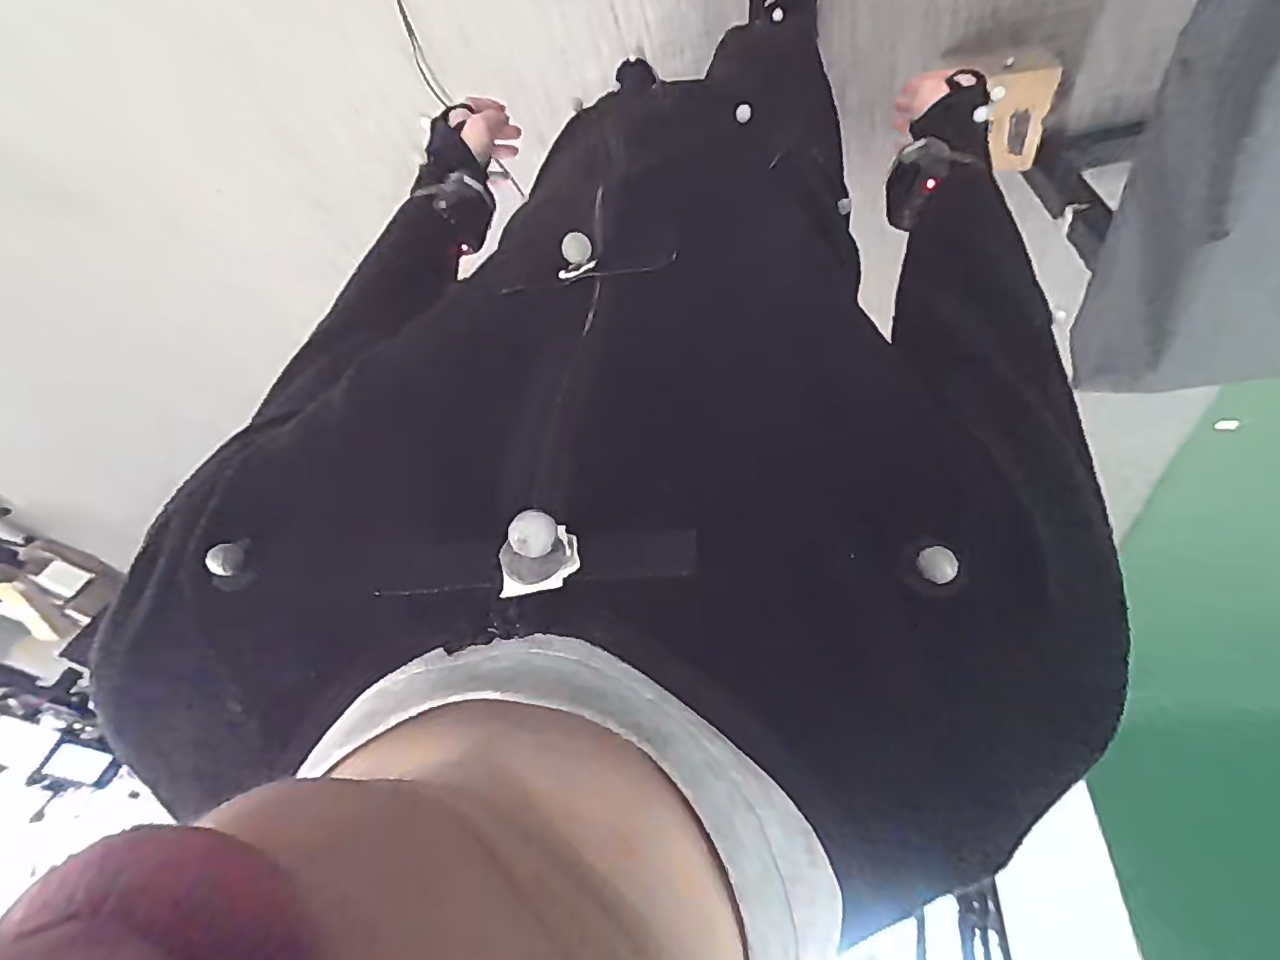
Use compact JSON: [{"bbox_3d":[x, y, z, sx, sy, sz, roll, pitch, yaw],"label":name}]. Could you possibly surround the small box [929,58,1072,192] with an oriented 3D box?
[{"bbox_3d":[0.678,-0.684,1.042,0.179,0.176,0.168,2,138,16],"label":"small box"}]
